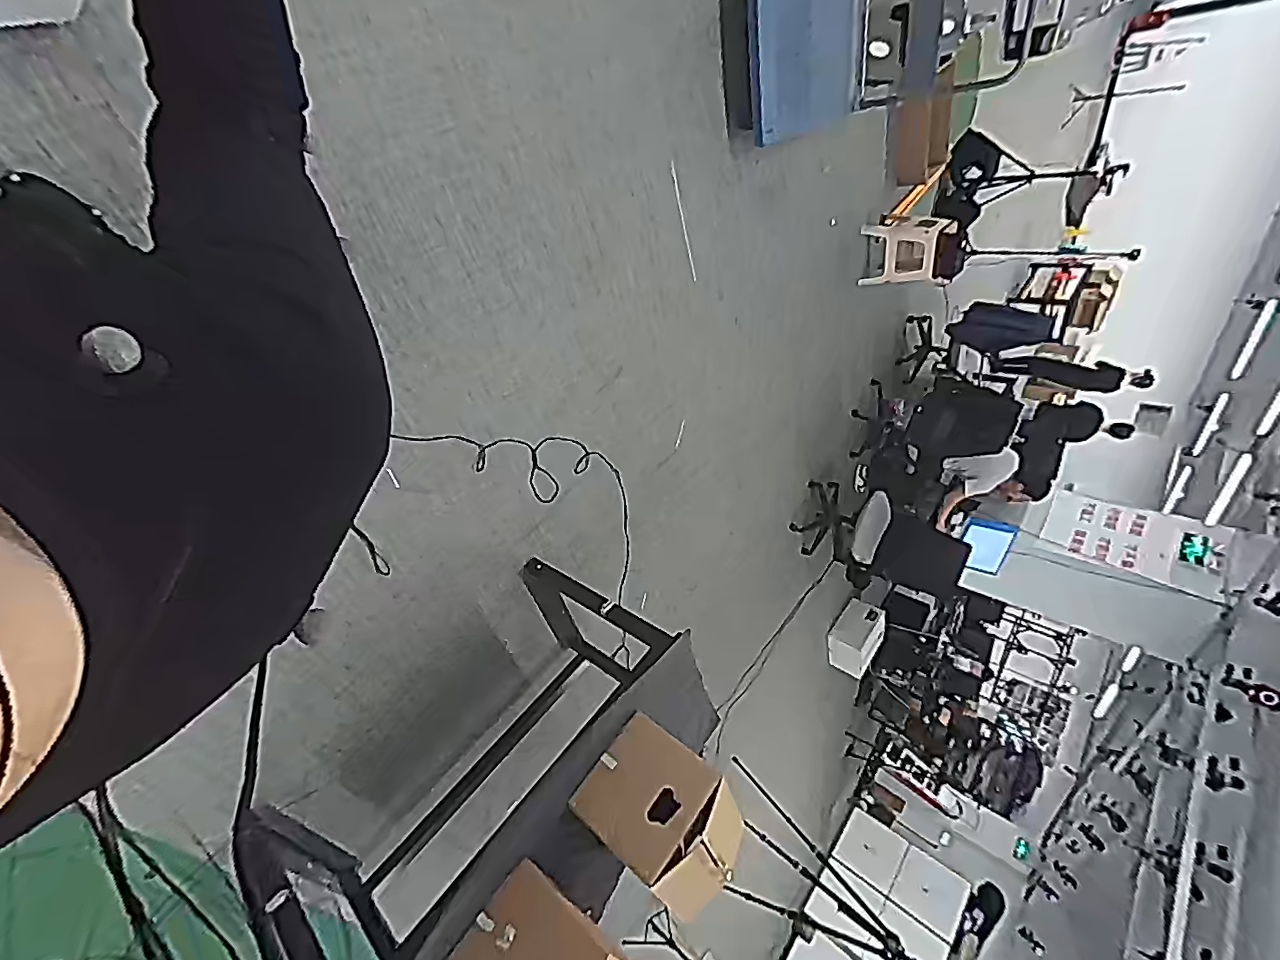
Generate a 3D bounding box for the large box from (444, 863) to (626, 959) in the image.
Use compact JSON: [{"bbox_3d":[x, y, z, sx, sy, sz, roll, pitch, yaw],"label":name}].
[{"bbox_3d":[-0.244,1.229,1.318,0.320,0.320,0.408,-44,137,-29],"label":"large box"}]
